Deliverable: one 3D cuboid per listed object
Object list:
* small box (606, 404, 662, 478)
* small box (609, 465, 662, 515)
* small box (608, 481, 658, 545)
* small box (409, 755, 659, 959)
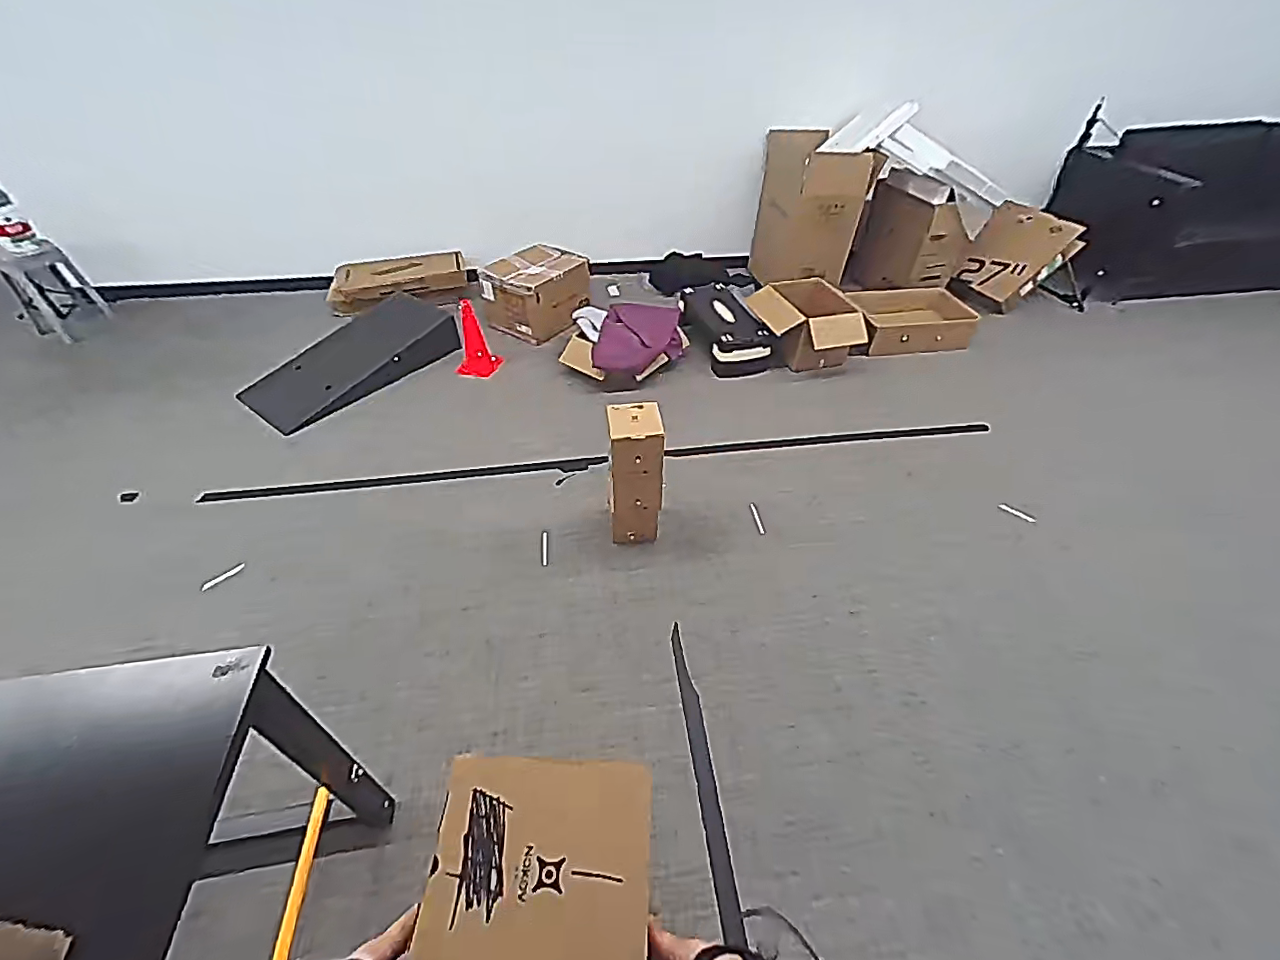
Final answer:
[{"bbox_3d":[-0.019,-0.120,1.739,0.168,0.176,0.179,-5,44,-5],"label":"small box"},{"bbox_3d":[-0.019,-0.002,1.853,0.168,0.176,0.179,-6,44,-5],"label":"small box"},{"bbox_3d":[-0.028,0.114,1.971,0.168,0.176,0.179,-6,45,-5],"label":"small box"},{"bbox_3d":[-0.077,0.362,0.478,0.179,0.176,0.168,4,47,0],"label":"small box"}]
